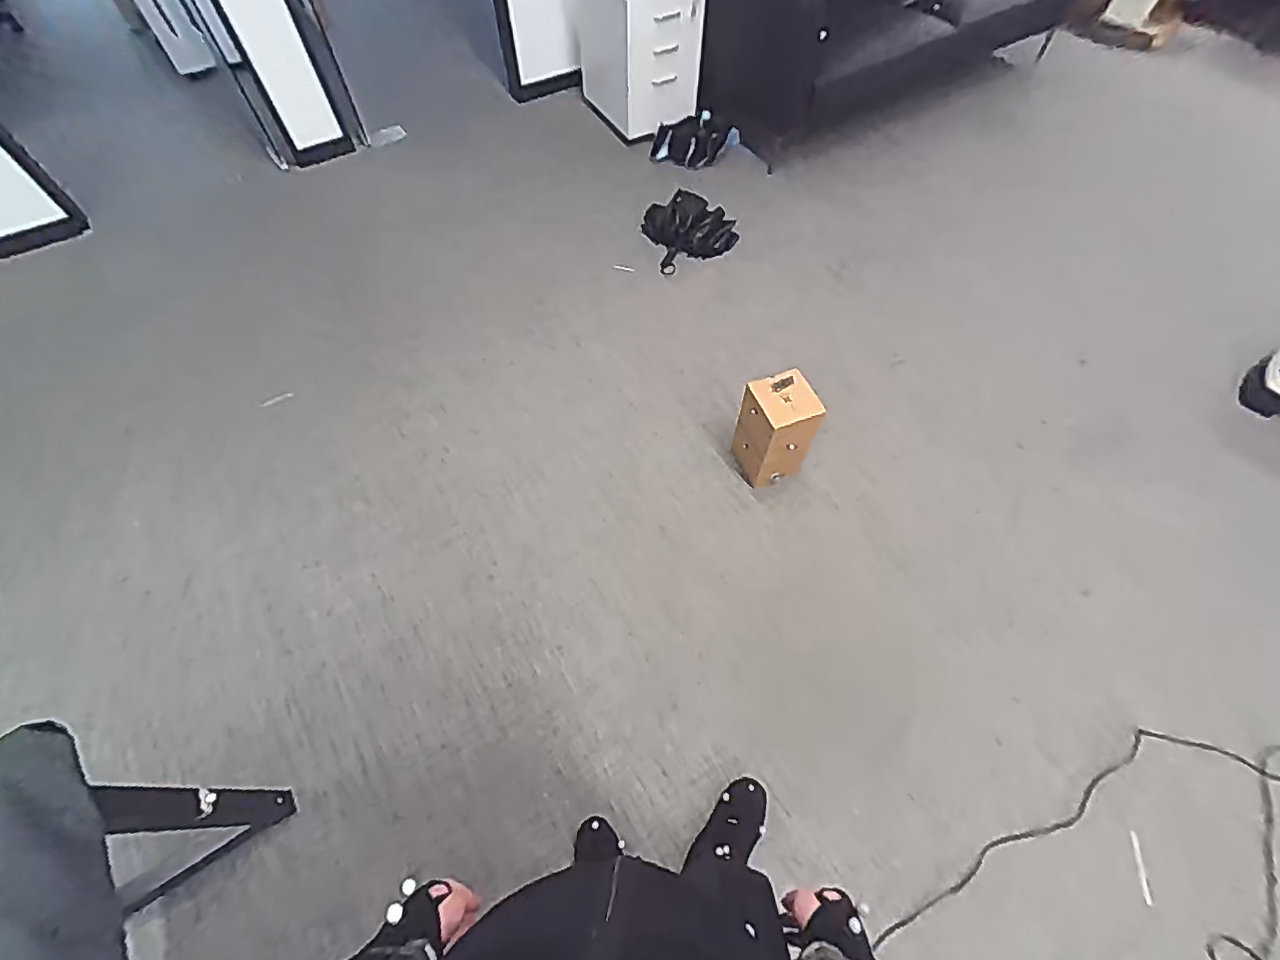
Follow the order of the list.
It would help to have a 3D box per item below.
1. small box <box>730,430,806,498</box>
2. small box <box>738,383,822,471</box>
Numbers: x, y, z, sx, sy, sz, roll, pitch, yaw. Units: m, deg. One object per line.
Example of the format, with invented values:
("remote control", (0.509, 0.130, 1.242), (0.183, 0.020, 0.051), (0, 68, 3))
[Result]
("small box", (0.406, -0.069, 1.757), (0.168, 0.176, 0.179), (-19, 62, -11))
("small box", (0.408, -0.155, 1.617), (0.168, 0.176, 0.179), (-18, 61, -10))
